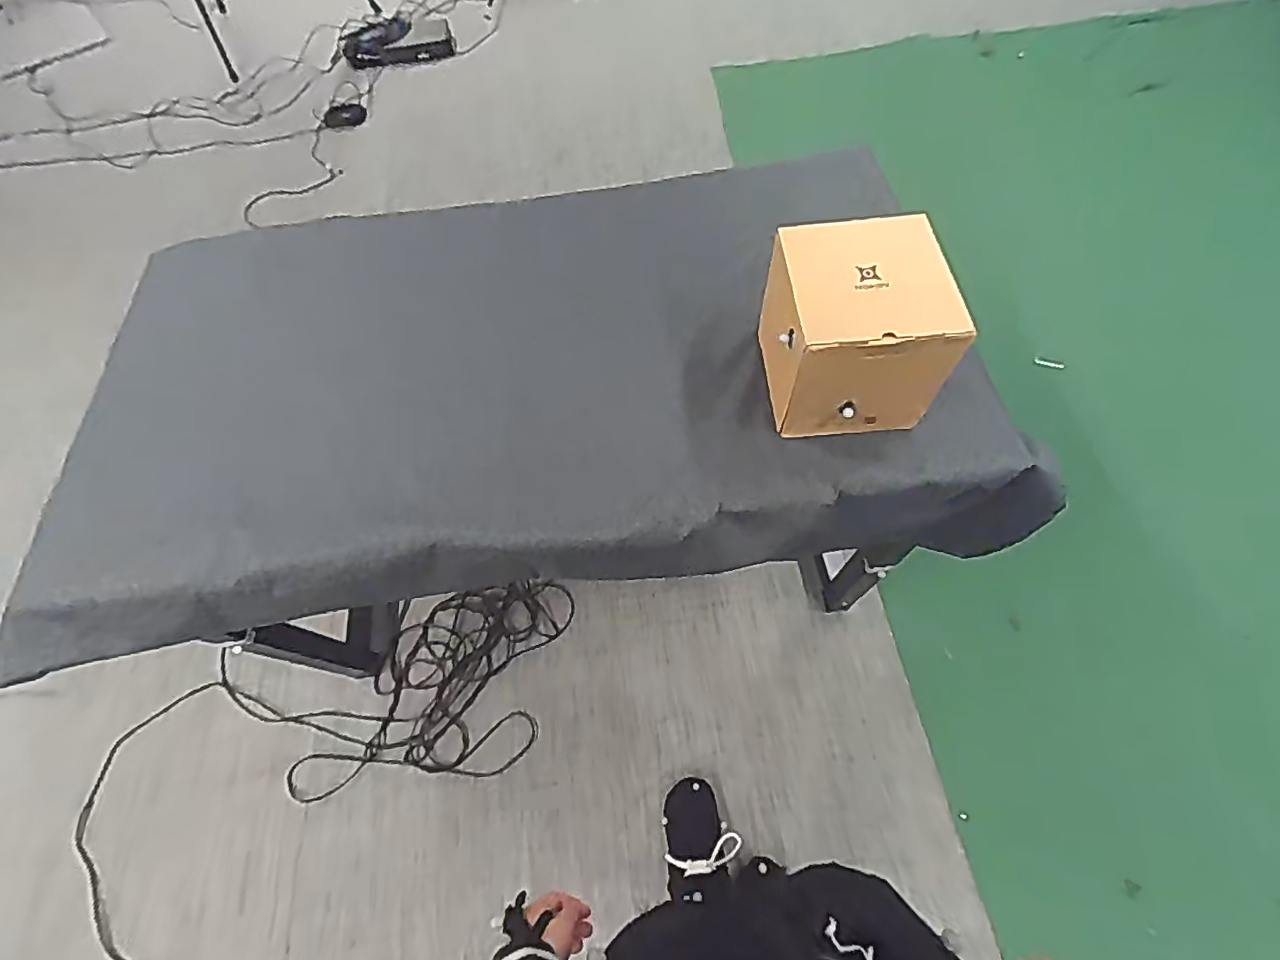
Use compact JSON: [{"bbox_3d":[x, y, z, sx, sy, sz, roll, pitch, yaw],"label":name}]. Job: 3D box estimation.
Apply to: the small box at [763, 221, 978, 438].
[{"bbox_3d":[0.246,-0.169,0.633,0.168,0.176,0.179,-5,62,2],"label":"small box"}]
